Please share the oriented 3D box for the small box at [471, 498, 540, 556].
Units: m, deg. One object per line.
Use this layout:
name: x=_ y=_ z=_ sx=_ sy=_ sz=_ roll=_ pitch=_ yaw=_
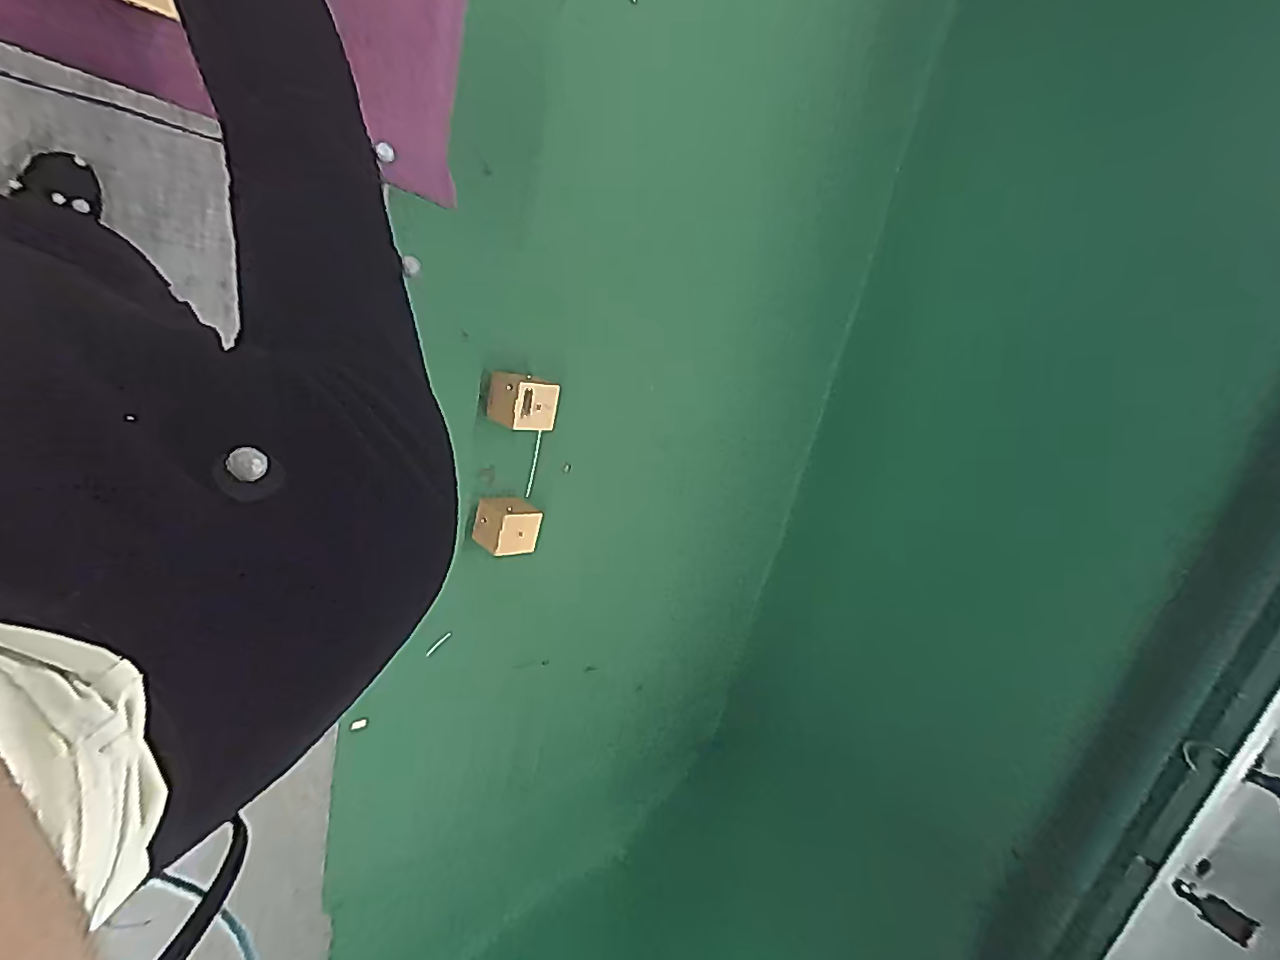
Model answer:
small box: x=-0.514 y=0.173 z=2.061 sx=0.179 sy=0.176 sz=0.168 roll=0 pitch=110 yaw=-49
